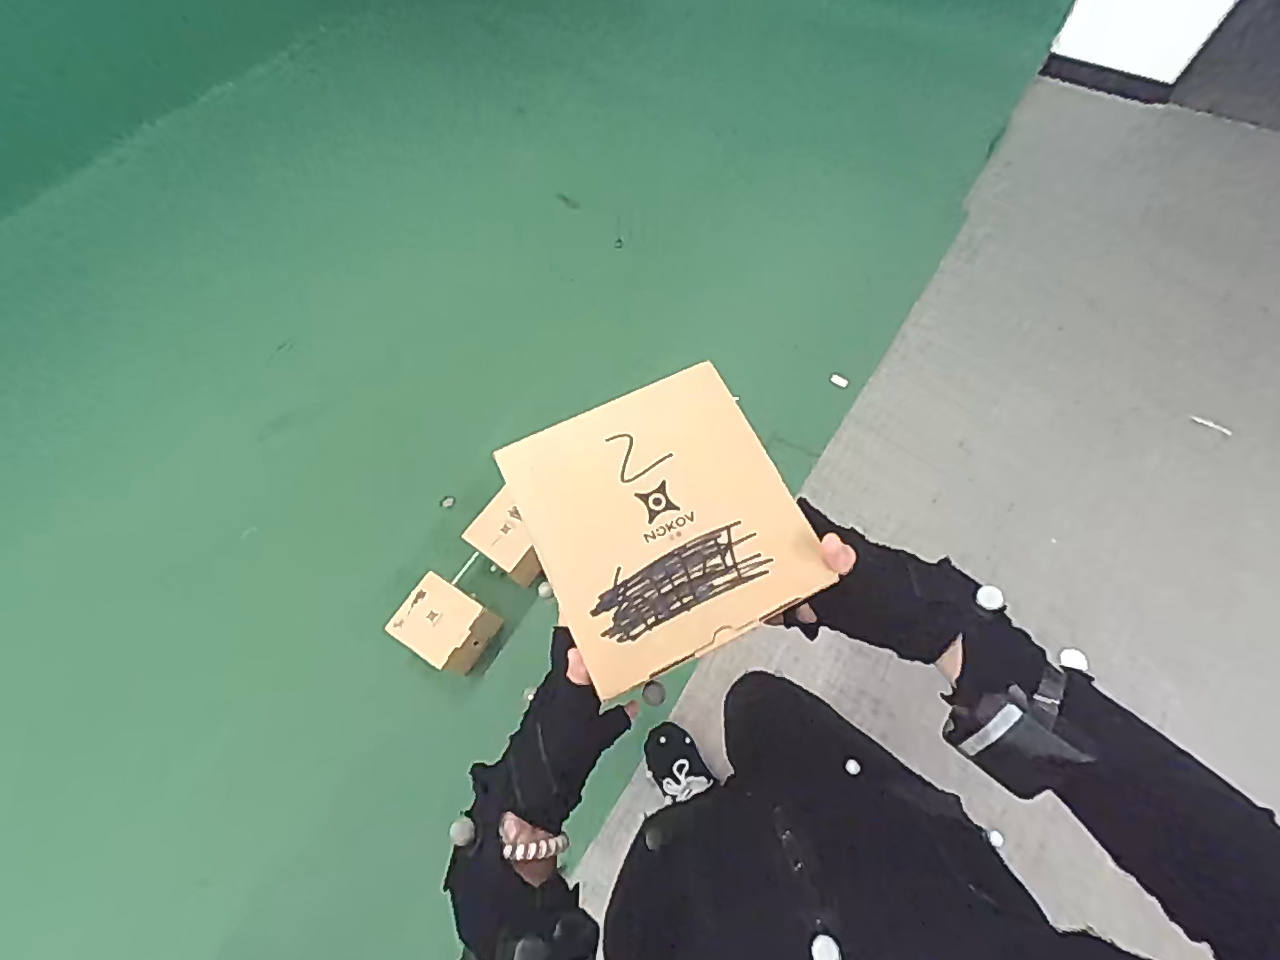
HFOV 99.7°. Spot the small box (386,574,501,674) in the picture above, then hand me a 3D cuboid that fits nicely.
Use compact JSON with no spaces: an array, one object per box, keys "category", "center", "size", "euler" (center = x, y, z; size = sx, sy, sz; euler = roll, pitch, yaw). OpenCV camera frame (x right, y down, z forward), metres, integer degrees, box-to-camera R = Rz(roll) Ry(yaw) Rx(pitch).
[{"category":"small box","center":[-0.470,0.357,1.324],"size":[0.179,0.176,0.168],"euler":[30,71,14]}]

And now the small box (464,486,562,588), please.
[{"category":"small box","center":[-0.319,0.153,1.407],"size":[0.168,0.176,0.179],"euler":[33,72,16]}]
